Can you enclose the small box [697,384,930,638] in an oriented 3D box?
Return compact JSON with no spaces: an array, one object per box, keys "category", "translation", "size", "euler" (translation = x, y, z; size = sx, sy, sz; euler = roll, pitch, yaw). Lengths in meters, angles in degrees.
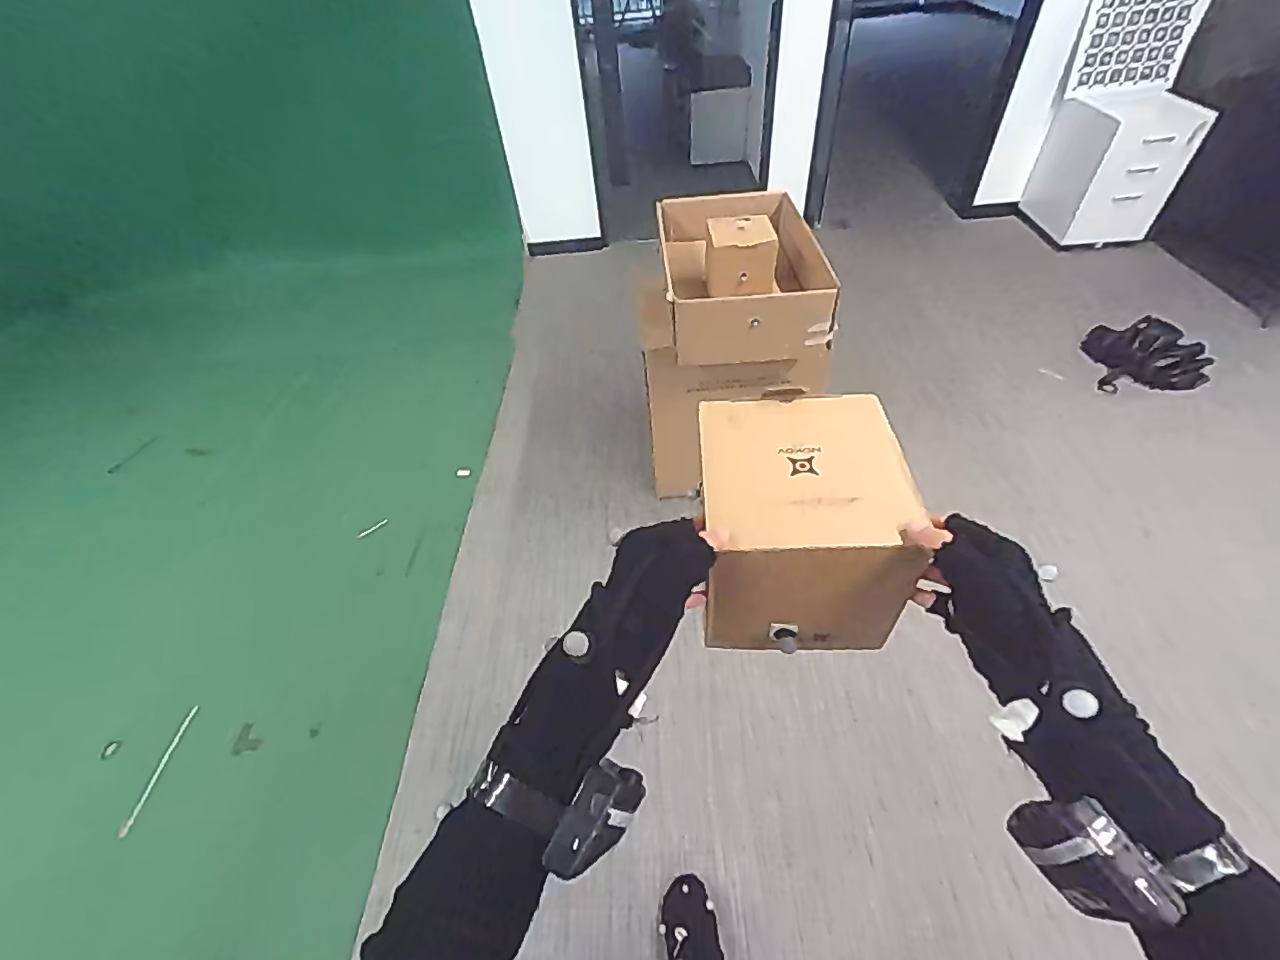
[{"category":"small box","translation":[0.139,0.029,0.513],"size":[0.168,0.176,0.179],"euler":[-1,48,5]}]
